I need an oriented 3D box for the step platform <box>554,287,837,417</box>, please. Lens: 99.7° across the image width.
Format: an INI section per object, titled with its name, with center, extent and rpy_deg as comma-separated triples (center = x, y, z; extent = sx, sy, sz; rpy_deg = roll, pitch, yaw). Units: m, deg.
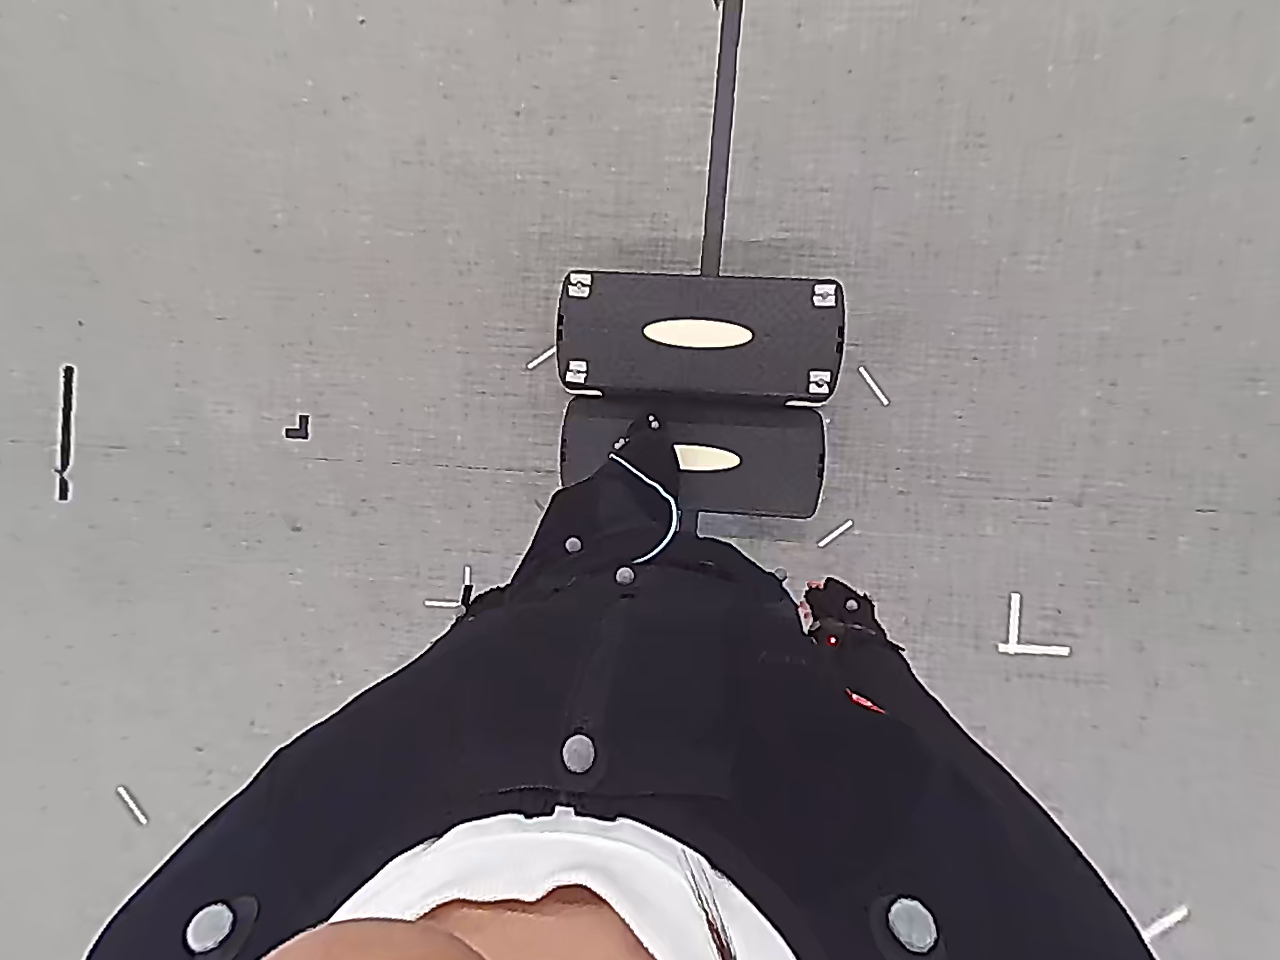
[step platform]
center = 0.129, -0.315, 1.348
extent = 0.684, 0.204, 0.286
rpy_deg = 3, 93, 4
